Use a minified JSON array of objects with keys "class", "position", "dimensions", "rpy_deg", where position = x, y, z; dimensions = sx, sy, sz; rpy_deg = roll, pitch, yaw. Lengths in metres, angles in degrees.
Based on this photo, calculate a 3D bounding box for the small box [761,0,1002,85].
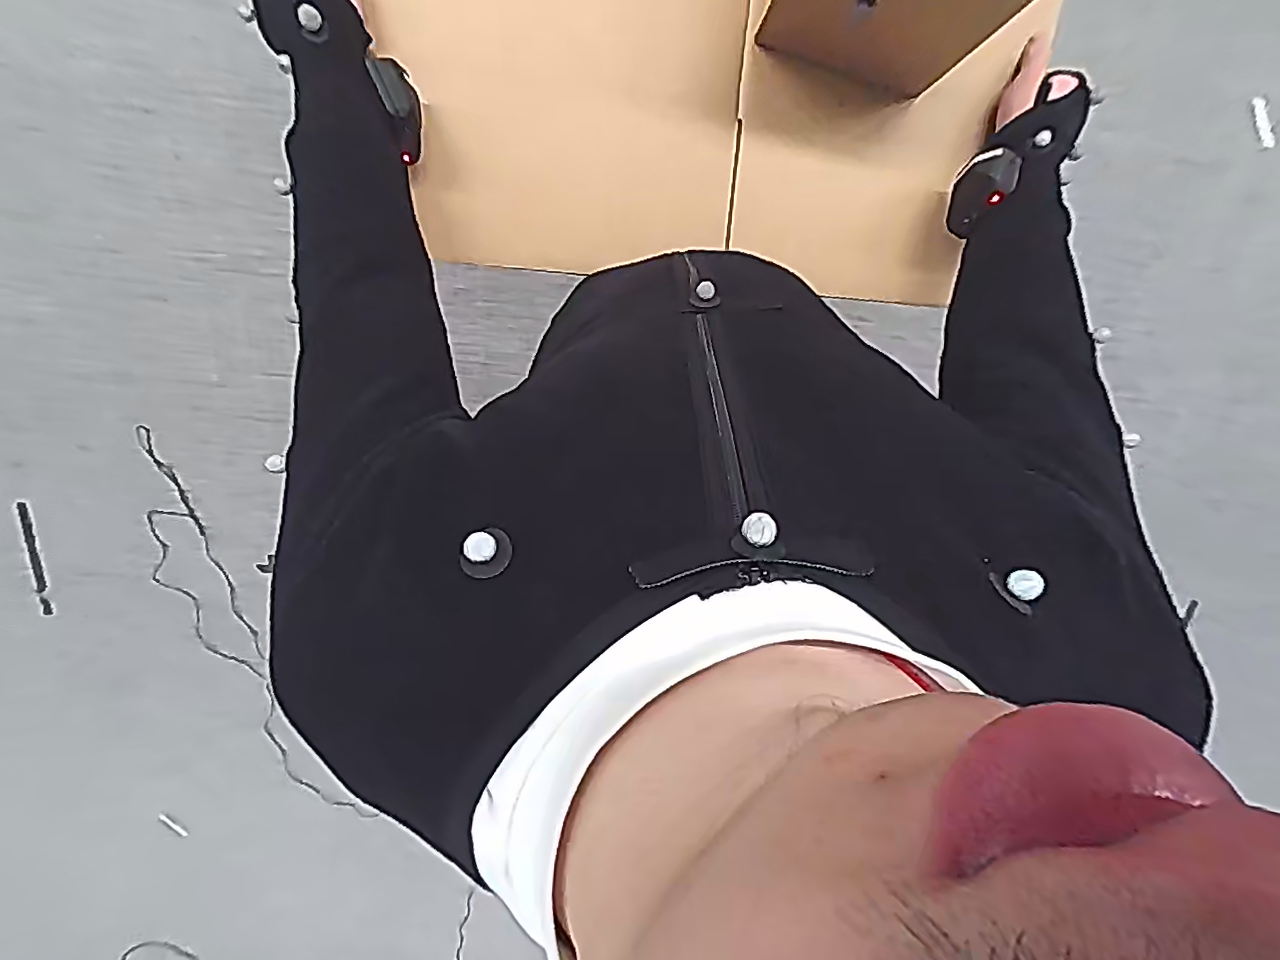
[{"class":"small box","position":[0.213,-0.461,0.434],"dimensions":[0.179,0.176,0.168],"rpy_deg":[14,104,-4]}]
